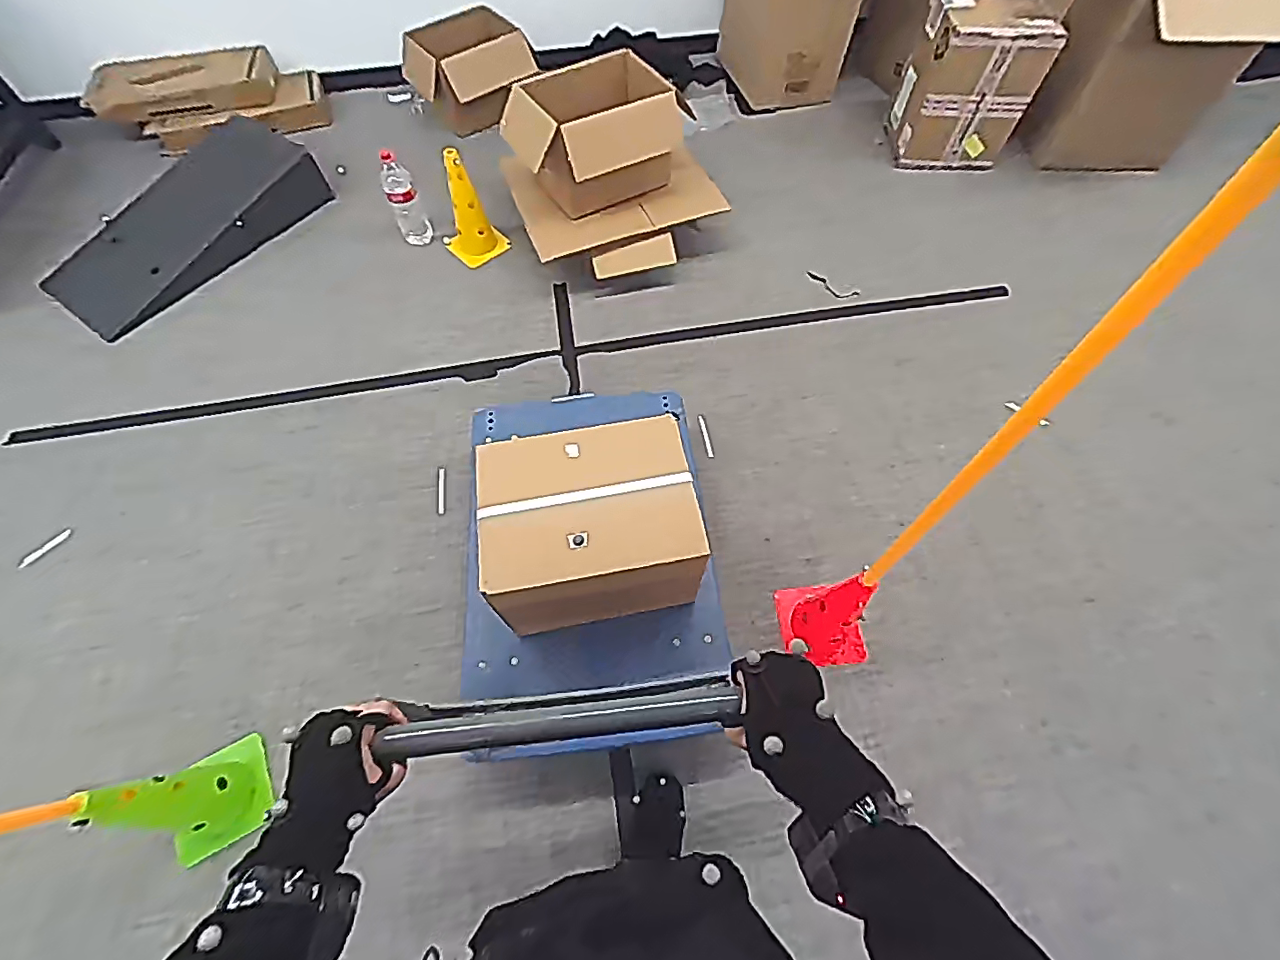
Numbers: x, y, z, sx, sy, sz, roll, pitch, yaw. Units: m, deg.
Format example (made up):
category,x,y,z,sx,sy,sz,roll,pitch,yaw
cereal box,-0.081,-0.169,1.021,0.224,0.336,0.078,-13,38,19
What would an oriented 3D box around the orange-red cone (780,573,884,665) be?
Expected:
category,x,y,z,sx,sy,sz,roll,pitch,yaw
orange-red cone,0.462,0.280,1.211,0.199,0.360,0.198,-3,62,-2
